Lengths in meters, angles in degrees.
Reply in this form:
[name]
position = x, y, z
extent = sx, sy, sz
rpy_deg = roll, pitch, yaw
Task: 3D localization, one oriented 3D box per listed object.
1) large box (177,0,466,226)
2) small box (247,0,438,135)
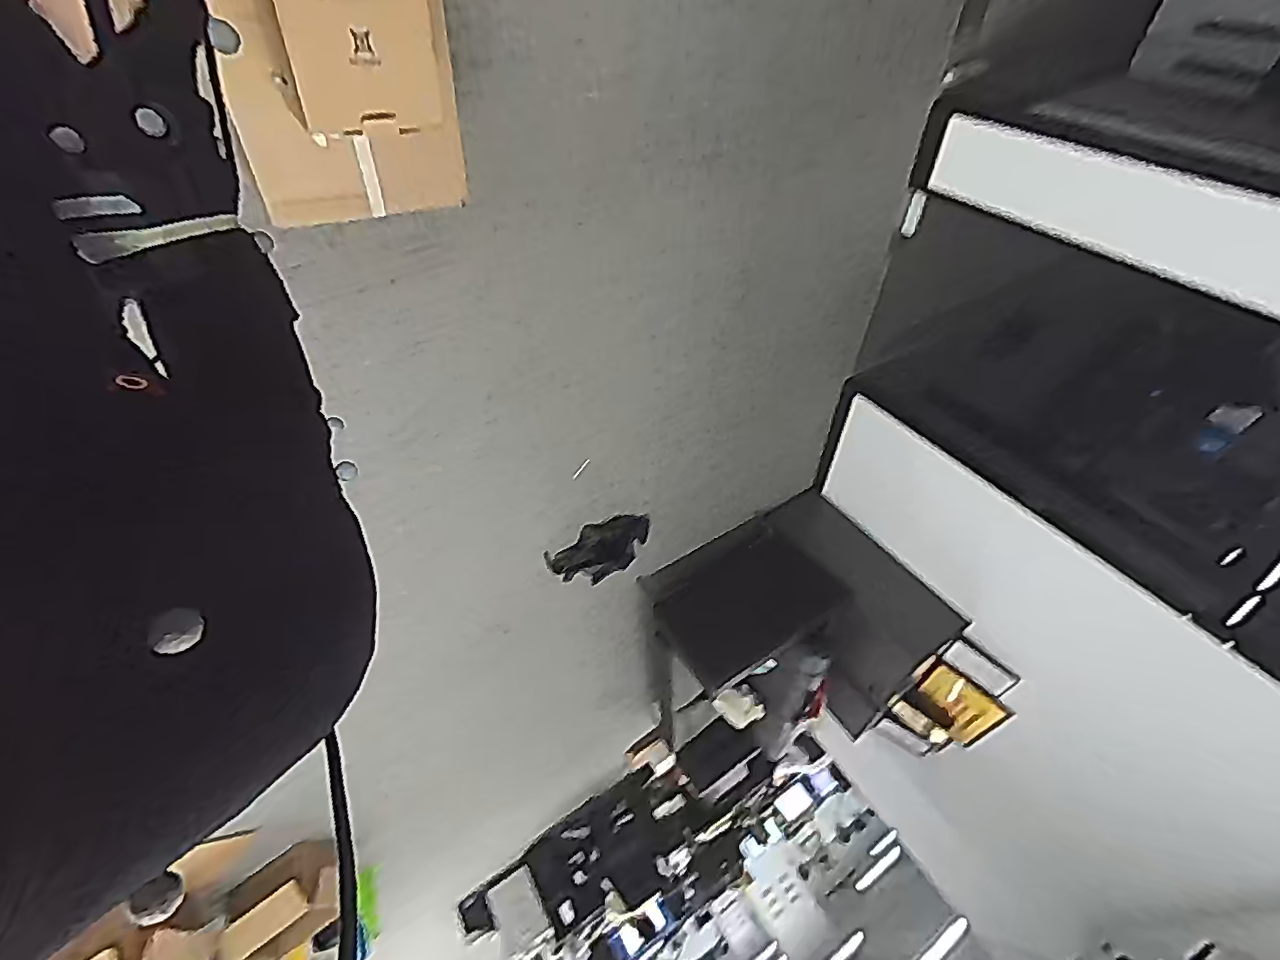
[large box]
position = -0.502, -0.675, 0.836
extent = 0.320, 0.320, 0.408
rpy_deg = -22, 142, -25
[small box]
position = -0.371, -0.551, 0.669
extent = 0.168, 0.176, 0.179
rpy_deg = -23, 141, -28
